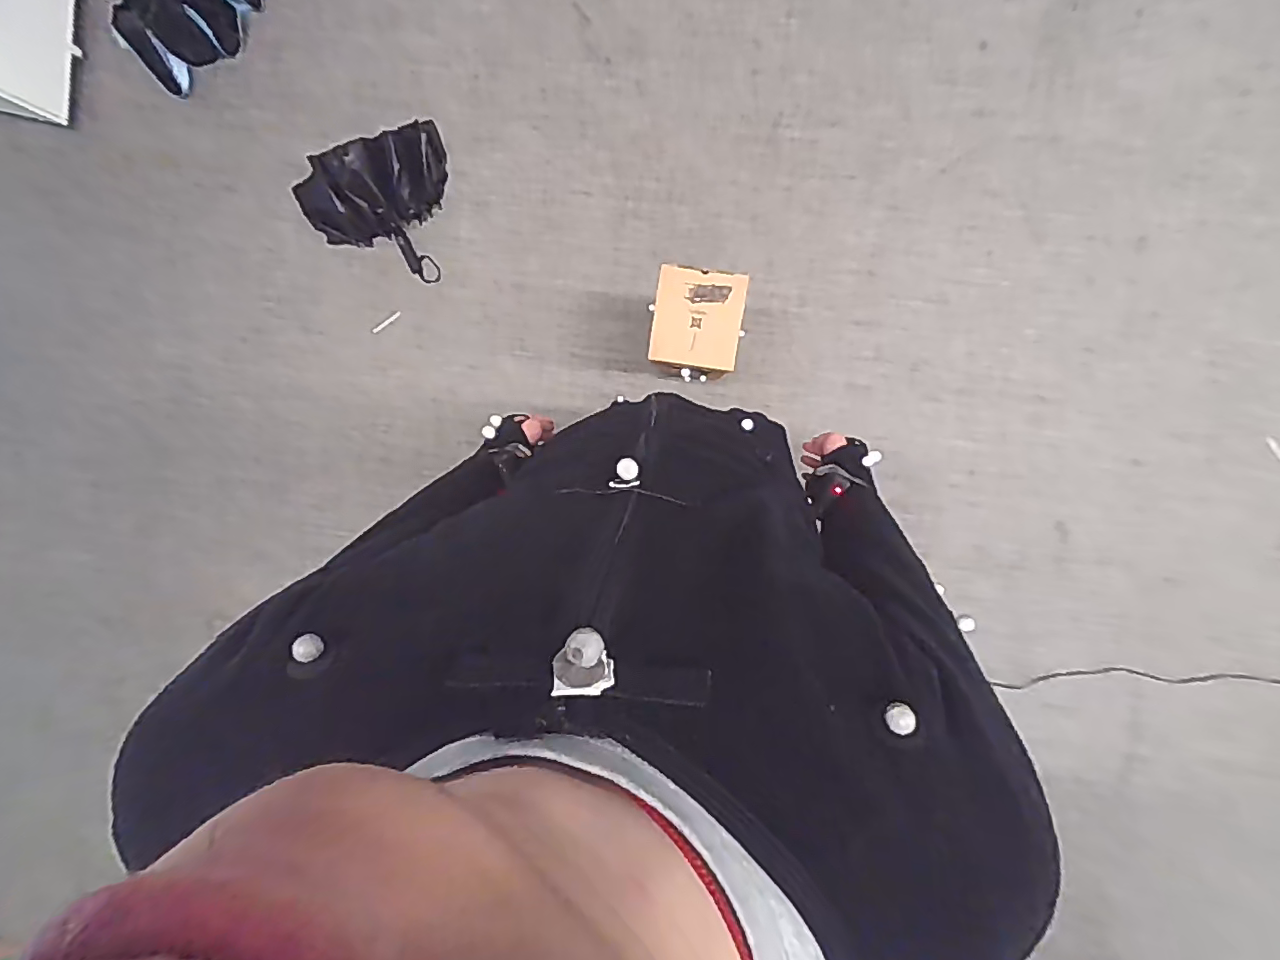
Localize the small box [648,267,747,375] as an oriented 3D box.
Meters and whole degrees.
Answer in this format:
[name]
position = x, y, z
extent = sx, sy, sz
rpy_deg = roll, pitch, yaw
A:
[small box]
position = 0.111, -0.314, 1.097
extent = 0.168, 0.176, 0.179
rpy_deg = 9, 101, 2
